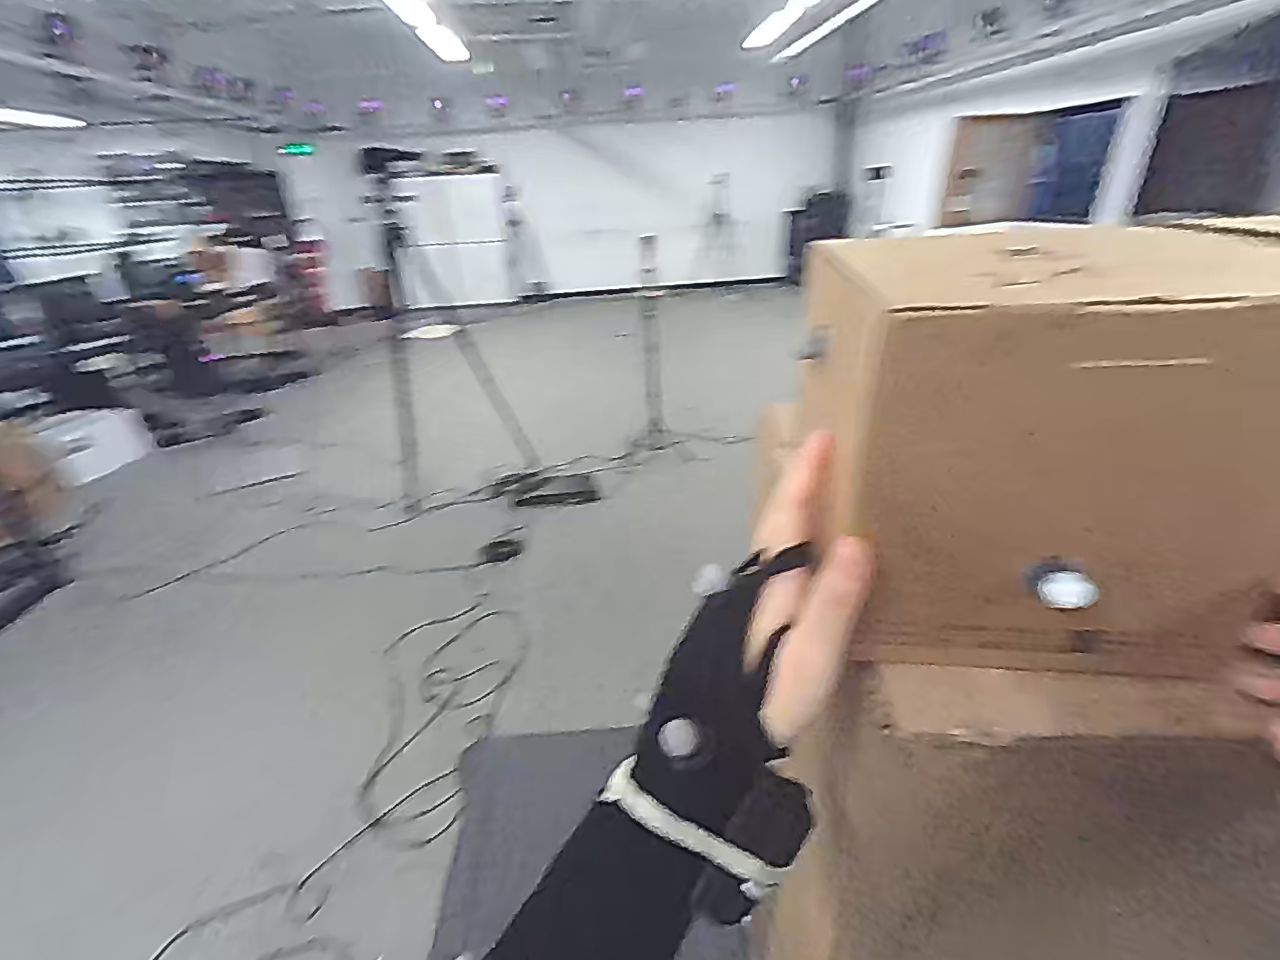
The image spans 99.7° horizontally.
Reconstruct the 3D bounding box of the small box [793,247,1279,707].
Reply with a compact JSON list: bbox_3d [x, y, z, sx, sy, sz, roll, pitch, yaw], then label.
[{"bbox_3d":[0.176,-0.016,0.279,0.168,0.176,0.179,1,31,8],"label":"small box"}]
